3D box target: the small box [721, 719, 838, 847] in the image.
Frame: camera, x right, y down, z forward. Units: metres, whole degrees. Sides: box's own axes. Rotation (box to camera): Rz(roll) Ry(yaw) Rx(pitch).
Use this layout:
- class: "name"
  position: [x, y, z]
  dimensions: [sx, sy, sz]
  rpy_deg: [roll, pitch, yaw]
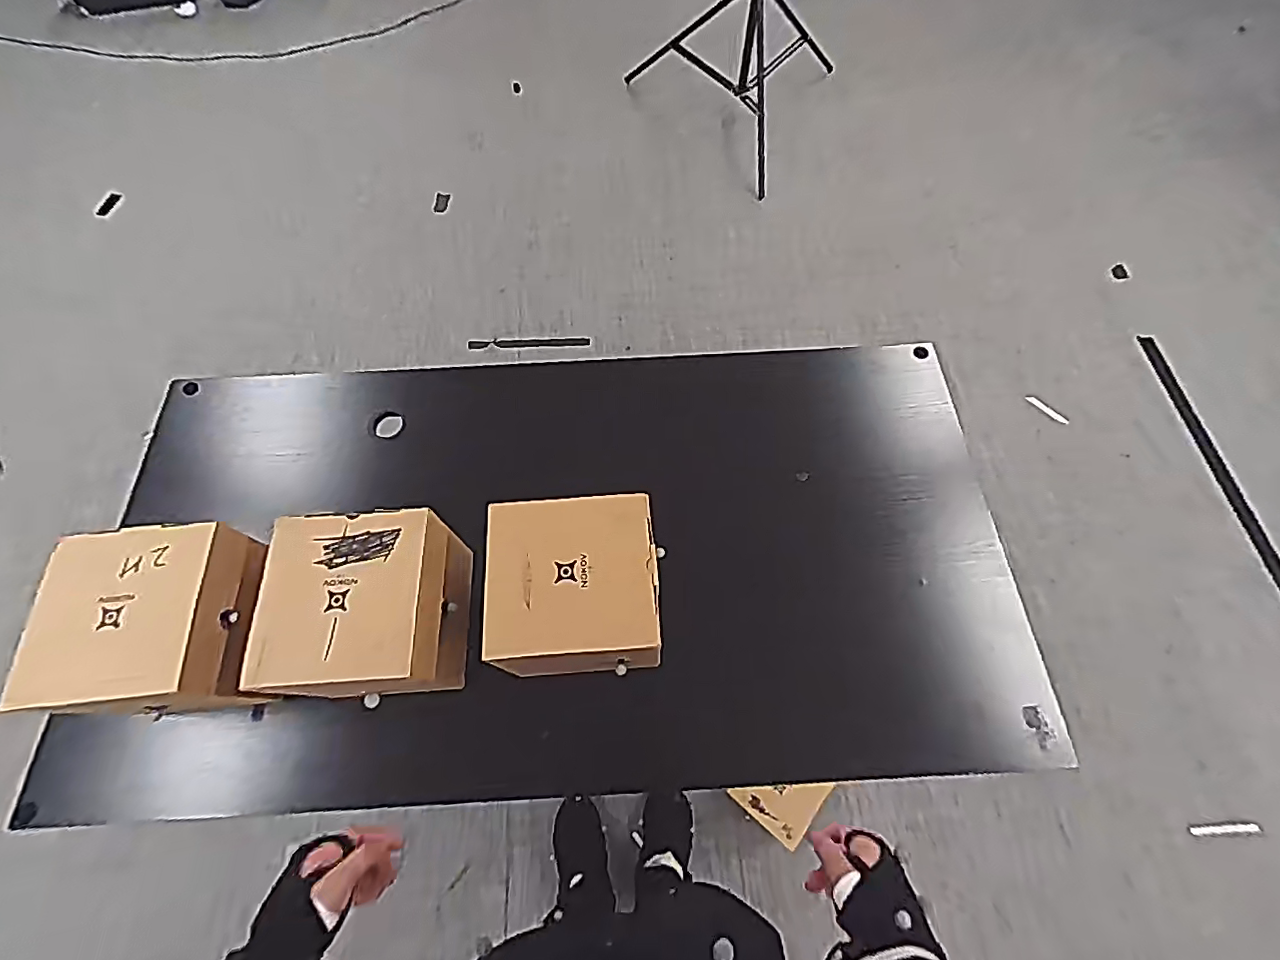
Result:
- class: "small box"
  position: [0.294, 0.650, 1.183]
  dimensions: [0.168, 0.176, 0.179]
  rpy_deg: [37, 71, 16]

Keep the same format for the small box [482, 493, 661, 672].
- class: "small box"
  position: [-0.070, 0.126, 0.629]
  dimensions: [0.179, 0.176, 0.168]
  rpy_deg: [-4, 65, 0]
